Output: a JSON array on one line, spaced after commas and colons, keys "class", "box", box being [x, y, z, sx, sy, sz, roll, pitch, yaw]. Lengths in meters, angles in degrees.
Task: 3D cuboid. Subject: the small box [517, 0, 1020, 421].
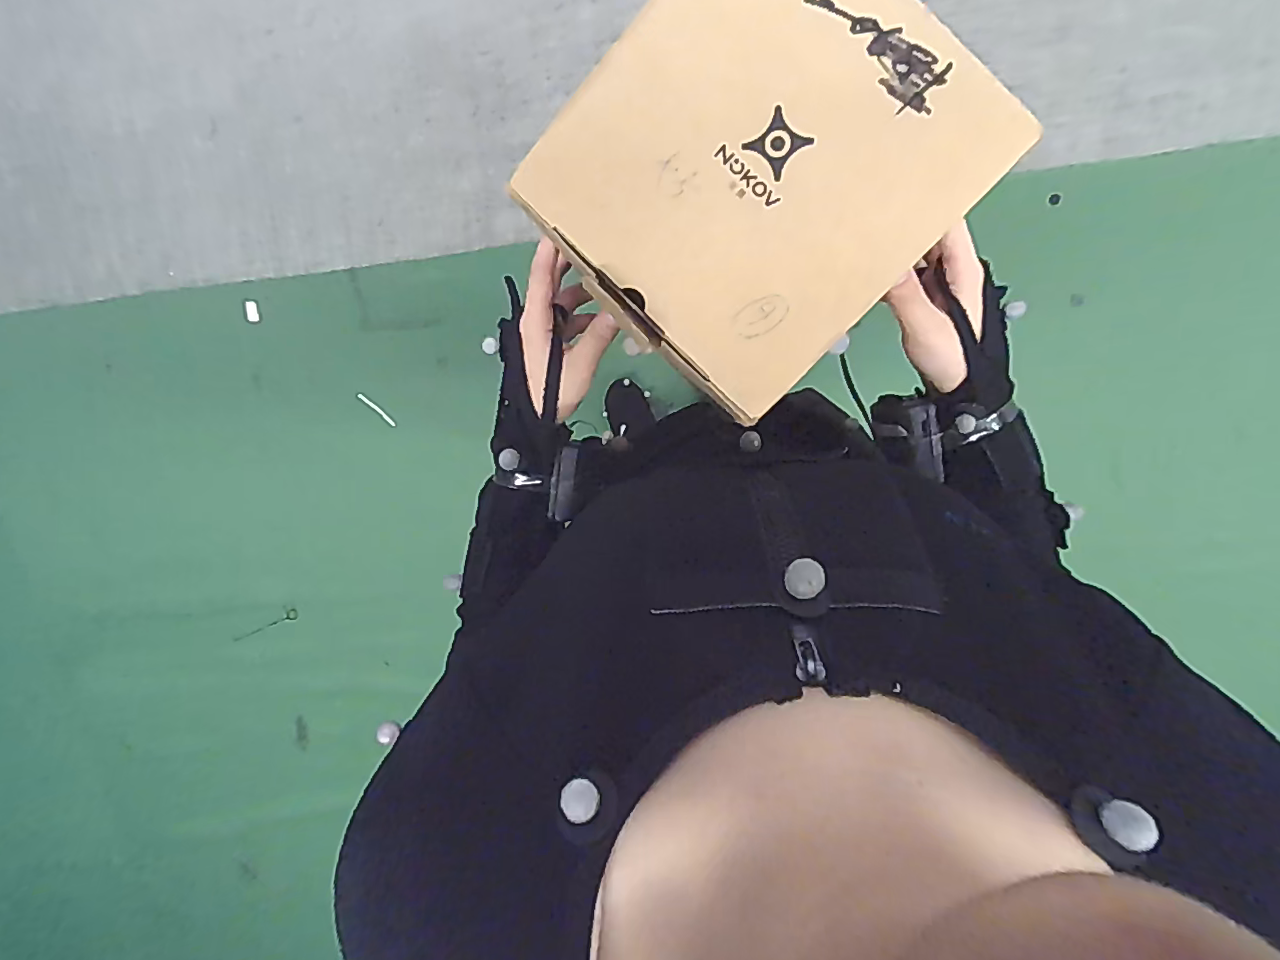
[{"class": "small box", "box": [0.063, -0.154, 0.330, 0.168, 0.176, 0.179, 44, 100, -1]}]
